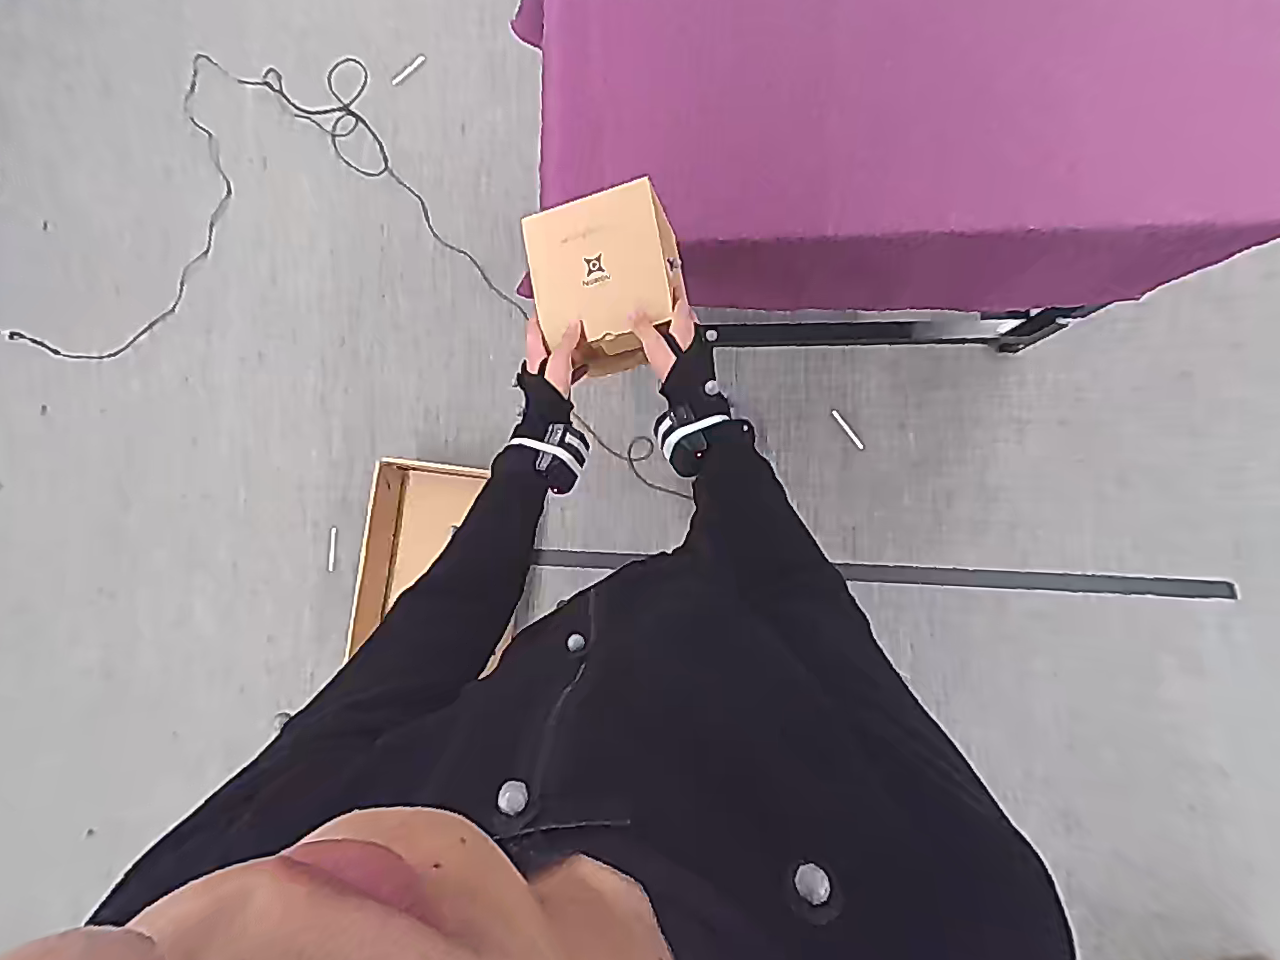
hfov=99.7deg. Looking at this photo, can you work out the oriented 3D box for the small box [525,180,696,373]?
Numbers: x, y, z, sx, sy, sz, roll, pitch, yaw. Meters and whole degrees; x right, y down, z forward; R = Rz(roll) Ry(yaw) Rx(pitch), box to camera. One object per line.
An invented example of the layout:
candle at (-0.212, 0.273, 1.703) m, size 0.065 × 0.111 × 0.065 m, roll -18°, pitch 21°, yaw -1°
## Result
small box at (-0.028, -0.247, 0.713) m, size 0.168 × 0.176 × 0.179 m, roll -11°, pitch 87°, yaw 14°
